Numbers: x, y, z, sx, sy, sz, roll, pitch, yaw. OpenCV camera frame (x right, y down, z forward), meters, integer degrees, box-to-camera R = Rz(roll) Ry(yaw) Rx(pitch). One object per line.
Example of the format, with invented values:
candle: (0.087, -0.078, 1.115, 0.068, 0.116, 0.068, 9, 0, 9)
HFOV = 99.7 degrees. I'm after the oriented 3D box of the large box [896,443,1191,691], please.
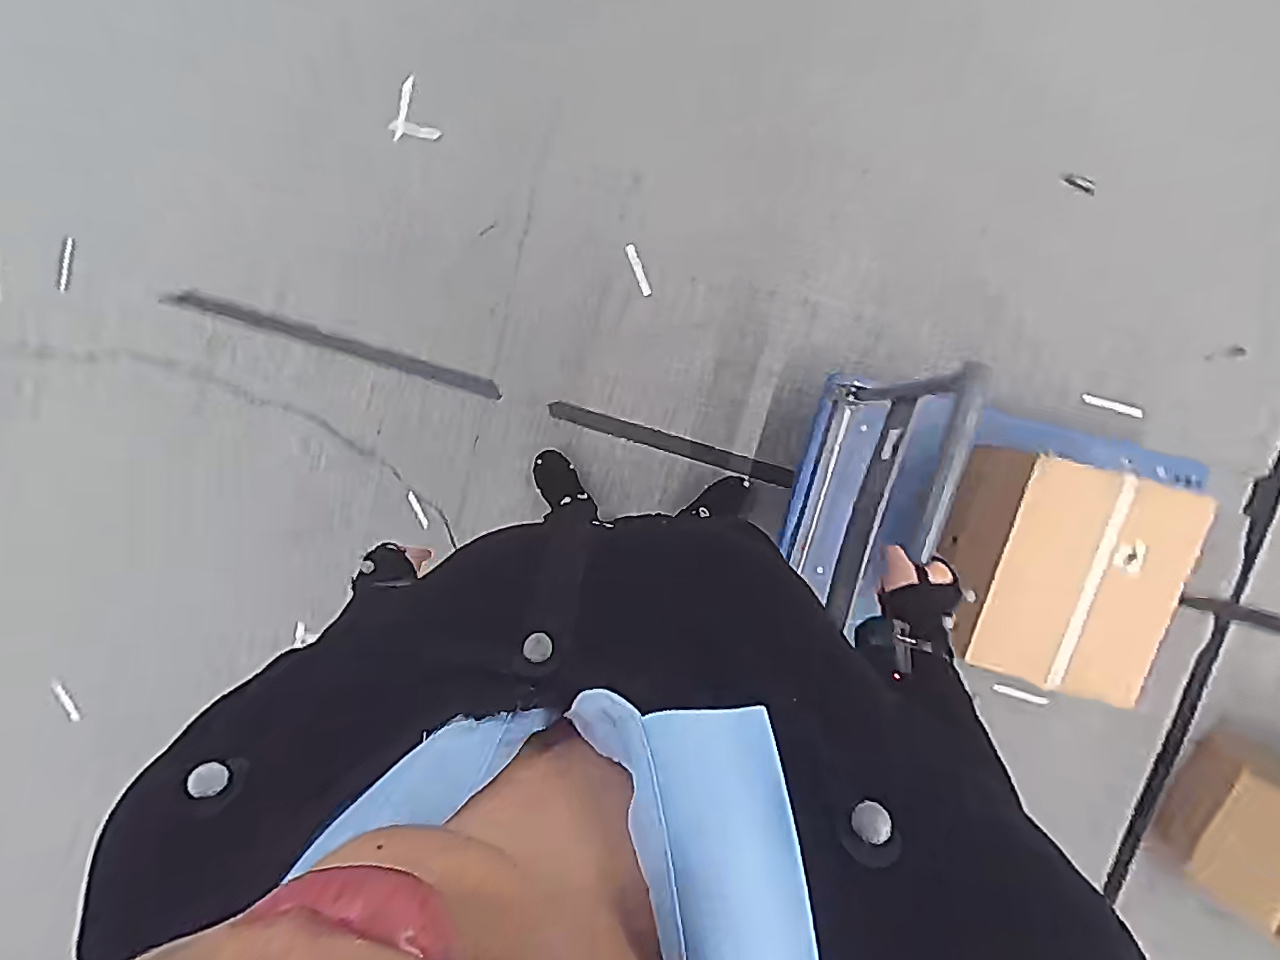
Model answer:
large box: (0.800, 0.155, 1.140, 0.320, 0.320, 0.408, 16, 96, 2)
